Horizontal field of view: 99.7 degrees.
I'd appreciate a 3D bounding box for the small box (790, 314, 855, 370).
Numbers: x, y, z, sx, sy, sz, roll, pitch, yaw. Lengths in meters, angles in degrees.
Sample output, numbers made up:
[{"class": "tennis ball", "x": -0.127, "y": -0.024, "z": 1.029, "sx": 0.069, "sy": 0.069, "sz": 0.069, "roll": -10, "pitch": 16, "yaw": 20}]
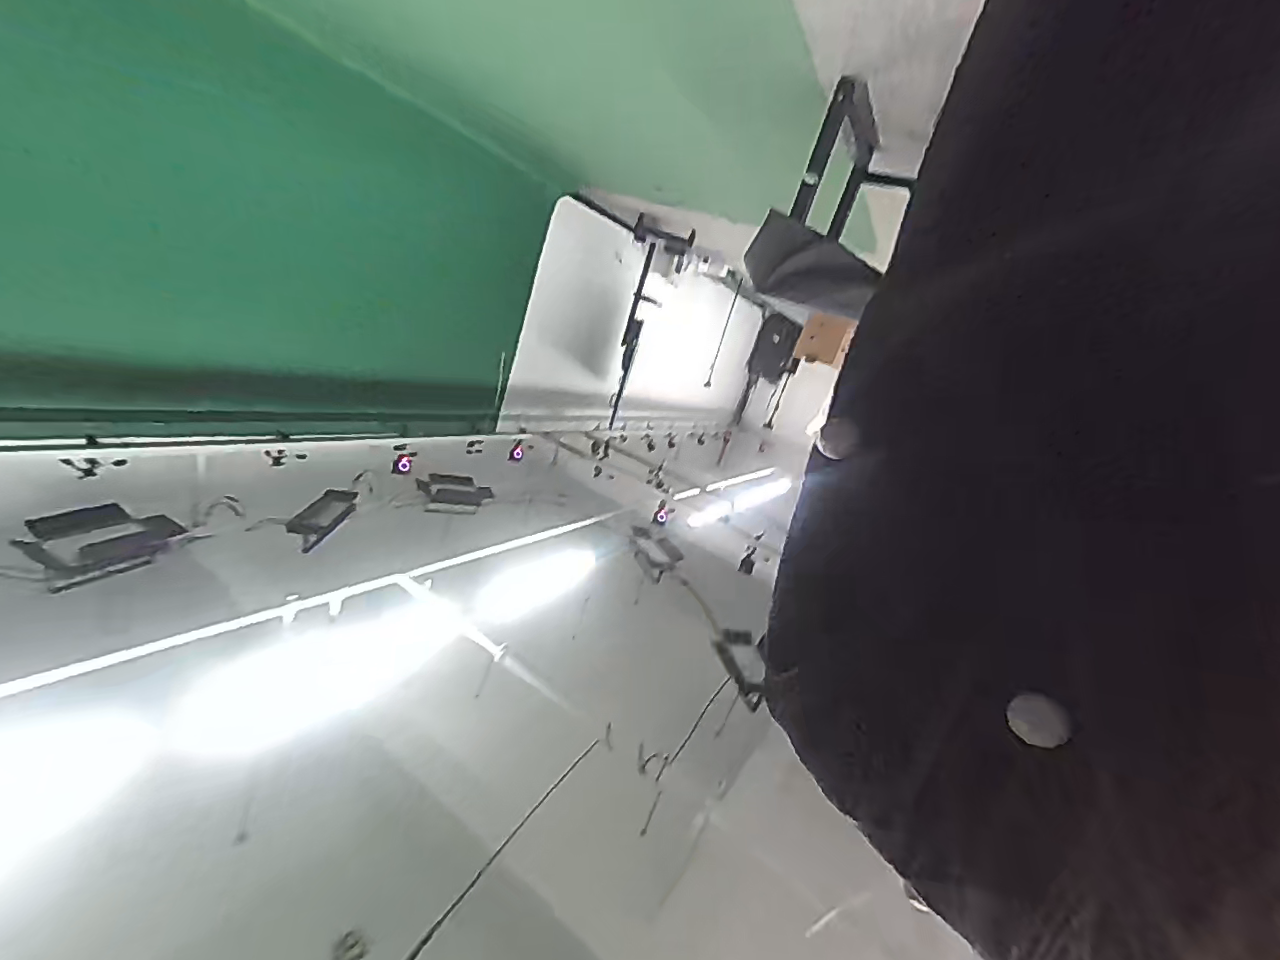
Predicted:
[{"class": "small box", "x": 0.729, "y": -0.551, "z": 2.152, "sx": 0.168, "sy": 0.176, "sz": 0.179, "roll": 30, "pitch": -160, "yaw": 31}]
